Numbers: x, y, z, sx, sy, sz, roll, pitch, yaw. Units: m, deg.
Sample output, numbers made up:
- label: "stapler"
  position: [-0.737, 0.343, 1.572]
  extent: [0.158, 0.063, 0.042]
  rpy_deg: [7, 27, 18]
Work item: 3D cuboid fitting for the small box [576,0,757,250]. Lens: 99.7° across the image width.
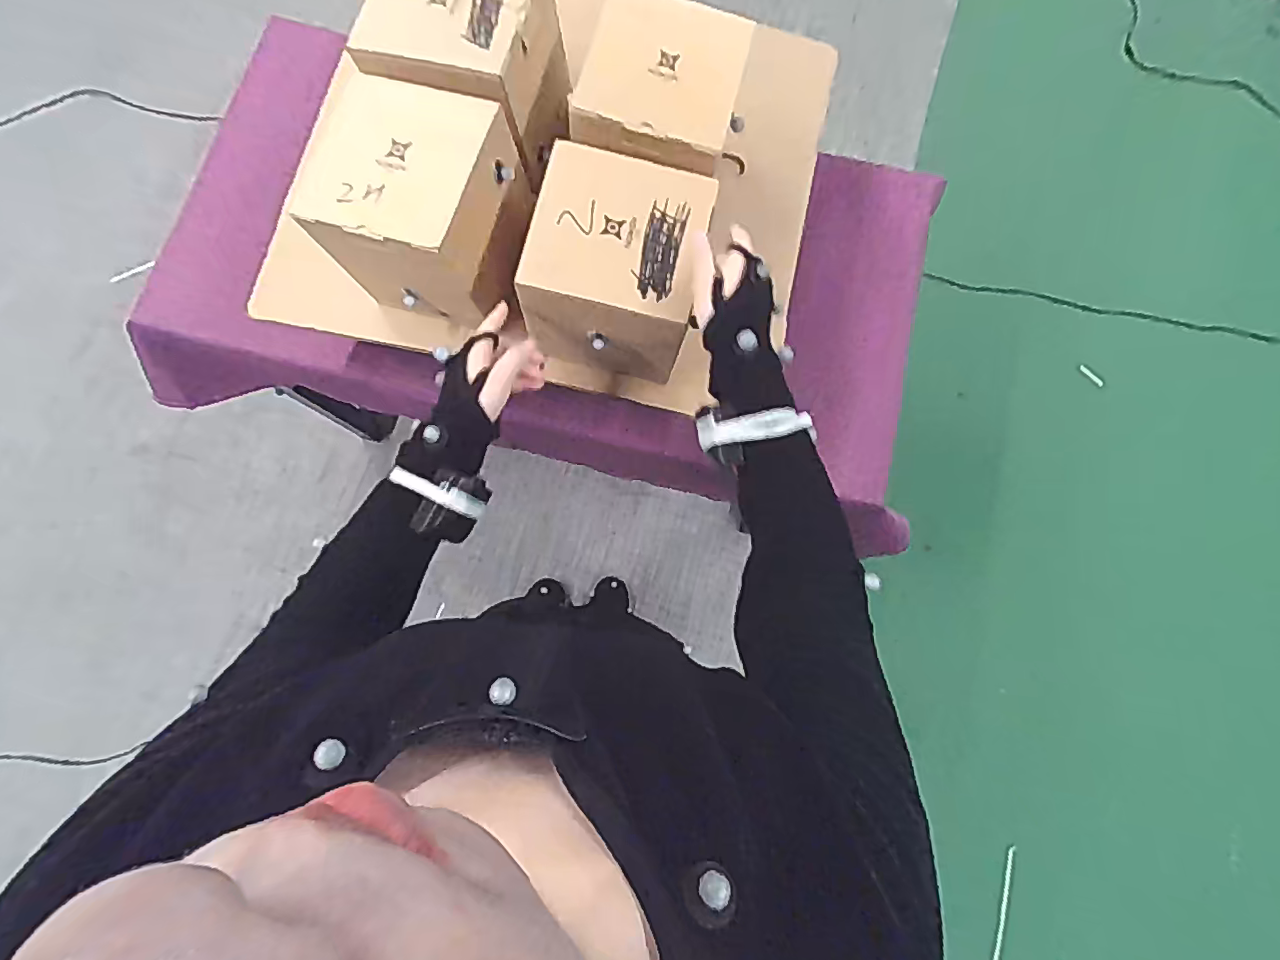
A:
- label: "small box"
  position: [0.024, -0.424, 0.664]
  extent: [0.168, 0.176, 0.179]
  rpy_deg: [16, 80, -2]
